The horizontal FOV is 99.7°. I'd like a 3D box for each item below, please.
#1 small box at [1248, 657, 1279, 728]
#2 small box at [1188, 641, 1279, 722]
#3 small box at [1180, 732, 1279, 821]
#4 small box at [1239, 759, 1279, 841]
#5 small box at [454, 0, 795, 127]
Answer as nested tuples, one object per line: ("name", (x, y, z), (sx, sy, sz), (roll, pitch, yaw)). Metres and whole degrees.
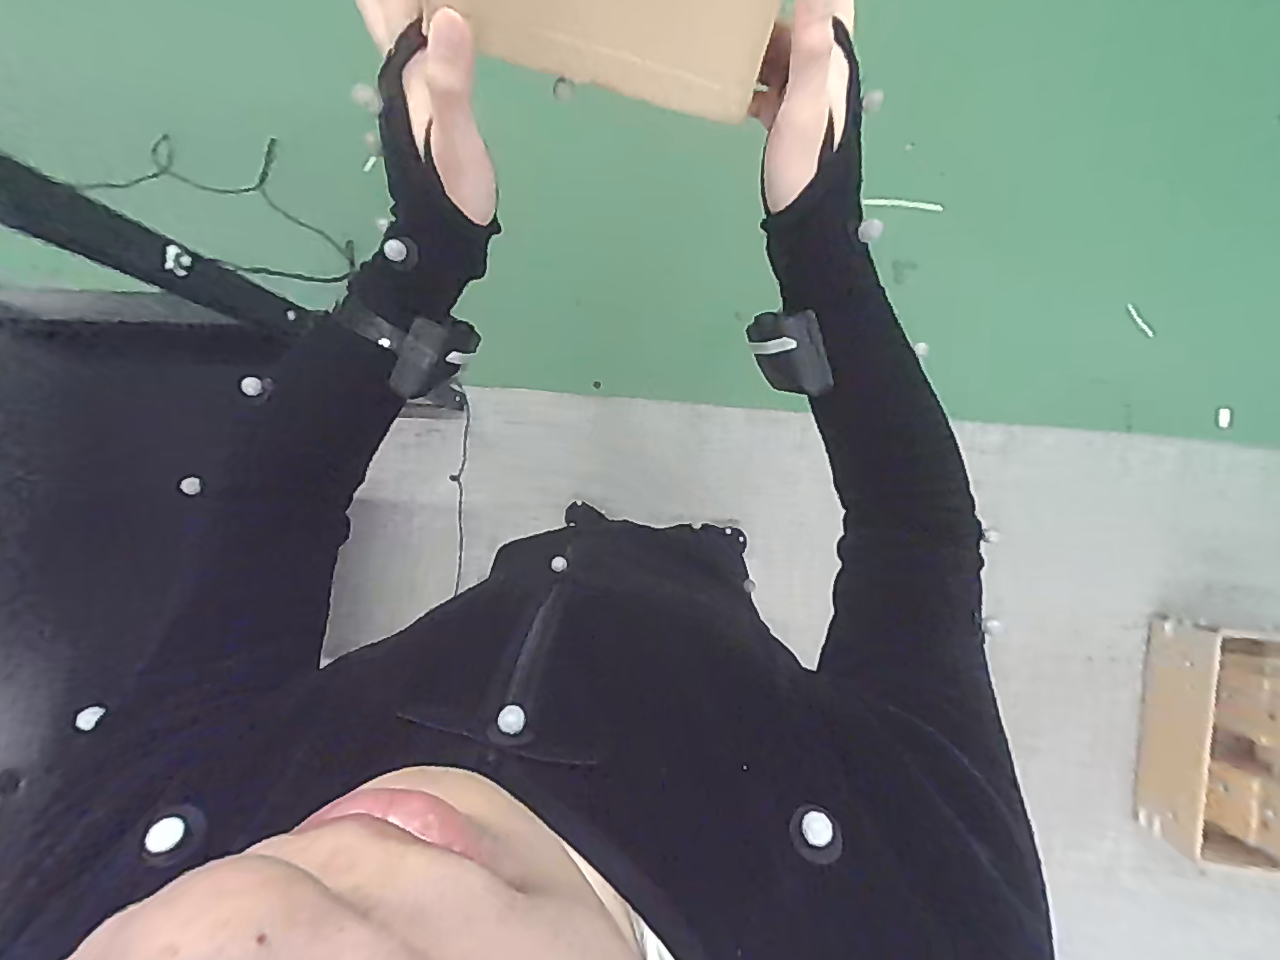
("small box", (1.665, 0.544, 1.313), (0.179, 0.176, 0.168), (9, 89, 0))
("small box", (1.667, 0.549, 1.478), (0.179, 0.176, 0.168), (4, 91, 2))
("small box", (1.641, 0.809, 1.477), (0.179, 0.176, 0.168), (5, 89, 2))
("small box", (1.642, 0.805, 1.314), (0.179, 0.176, 0.168), (7, 88, 2))
("small box", (-0.010, -0.333, 0.312), (0.179, 0.176, 0.168), (2, 130, -21))
